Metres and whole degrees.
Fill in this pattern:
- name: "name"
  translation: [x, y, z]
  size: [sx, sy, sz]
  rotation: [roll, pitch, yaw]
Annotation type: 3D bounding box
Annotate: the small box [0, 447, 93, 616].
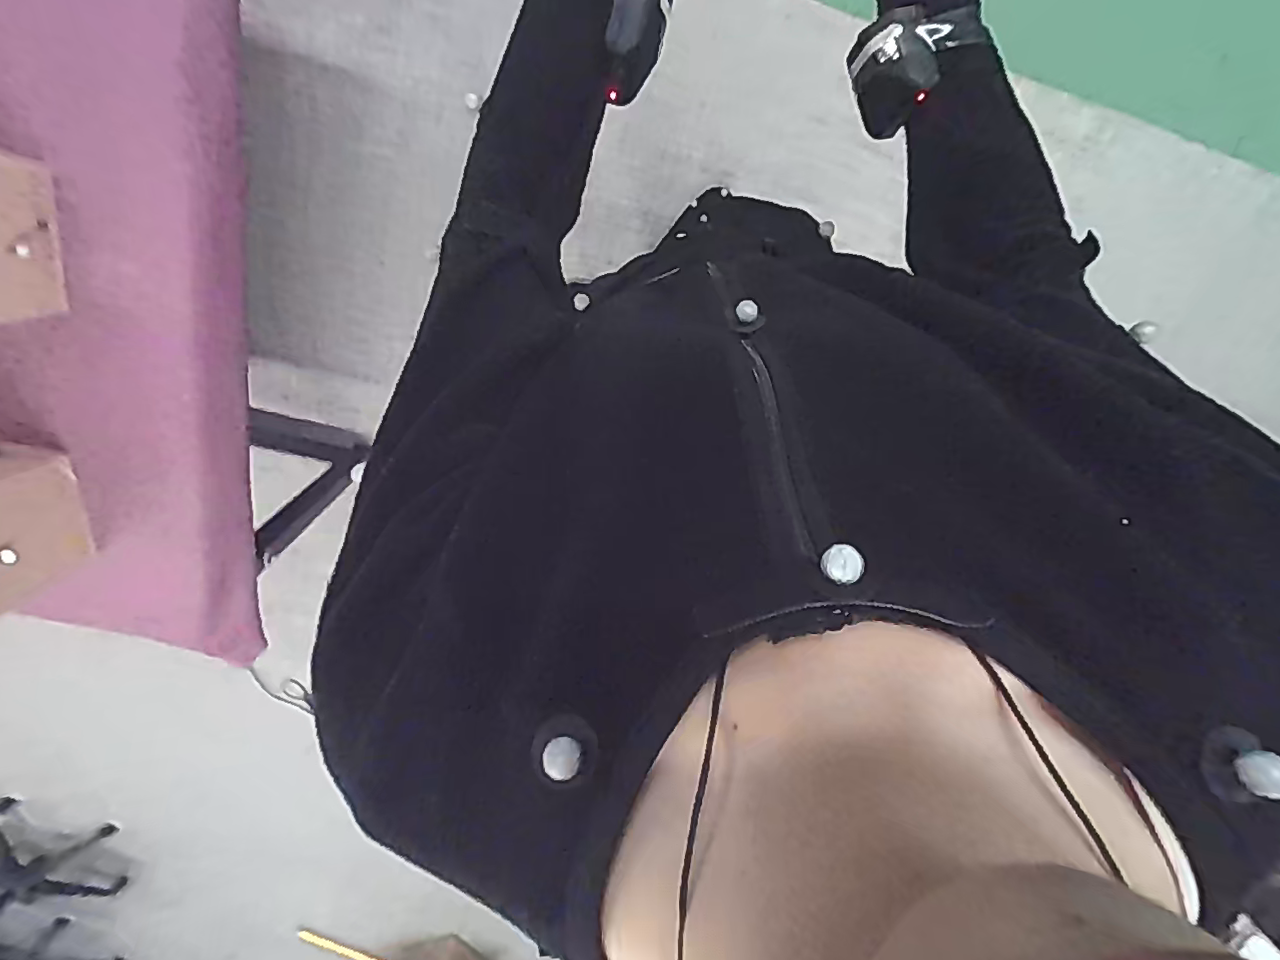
- name: "small box"
  translation: [-0.878, 0.067, 0.703]
  size: [0.168, 0.176, 0.179]
  rotation: [9, 114, -7]
